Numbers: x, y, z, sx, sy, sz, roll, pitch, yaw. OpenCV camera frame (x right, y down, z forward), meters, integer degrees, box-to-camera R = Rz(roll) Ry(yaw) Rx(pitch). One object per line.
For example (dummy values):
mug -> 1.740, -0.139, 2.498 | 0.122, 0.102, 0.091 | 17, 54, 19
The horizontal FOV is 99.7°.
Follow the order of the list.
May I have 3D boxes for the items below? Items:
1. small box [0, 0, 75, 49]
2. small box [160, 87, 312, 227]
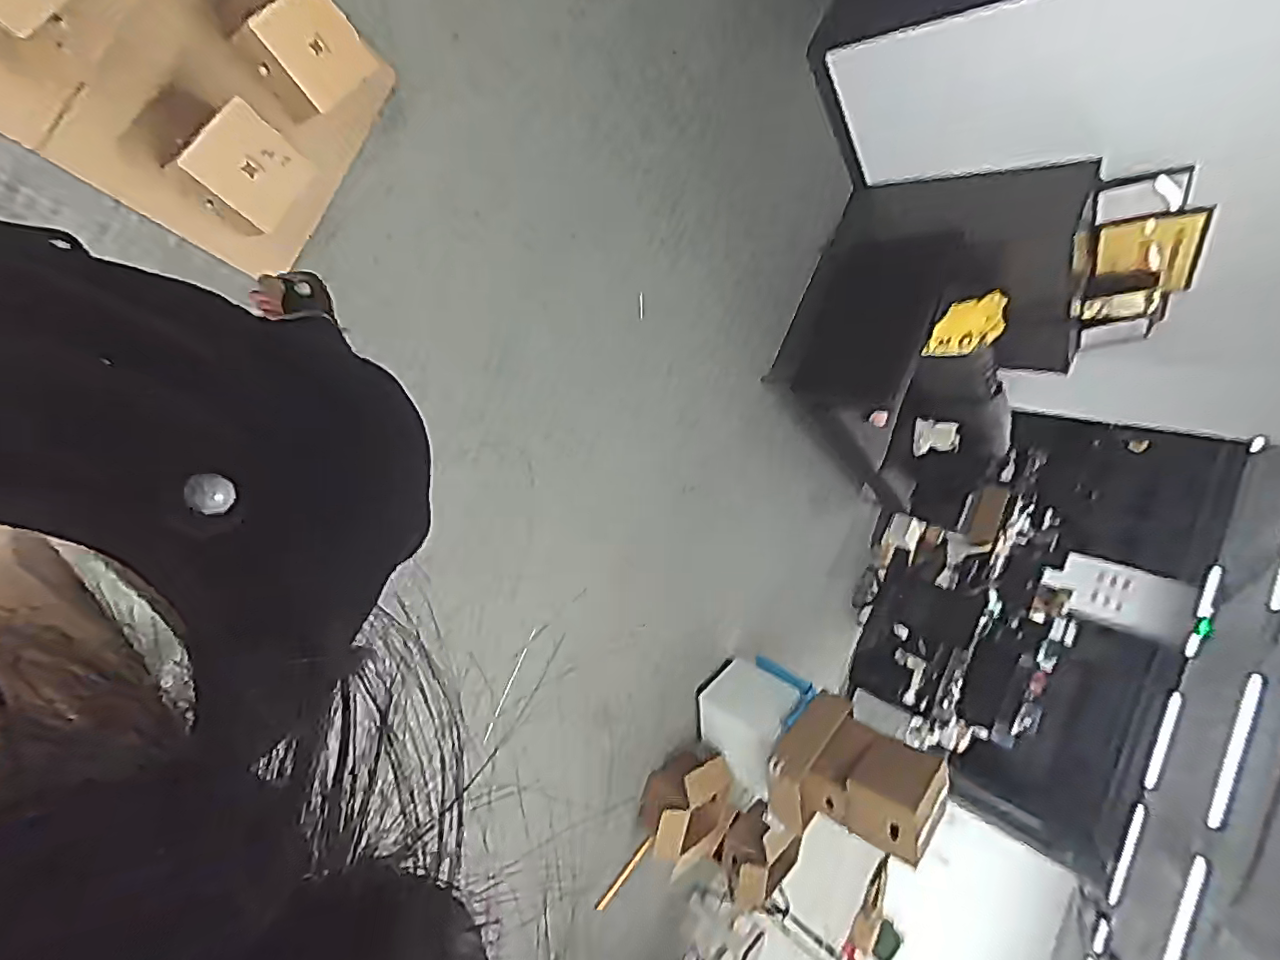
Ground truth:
small box -> -0.868, -0.716, 0.708 | 0.179, 0.176, 0.168 | -59, 140, -13
small box -> -0.803, -0.626, 1.071 | 0.179, 0.176, 0.168 | -61, 140, -13
